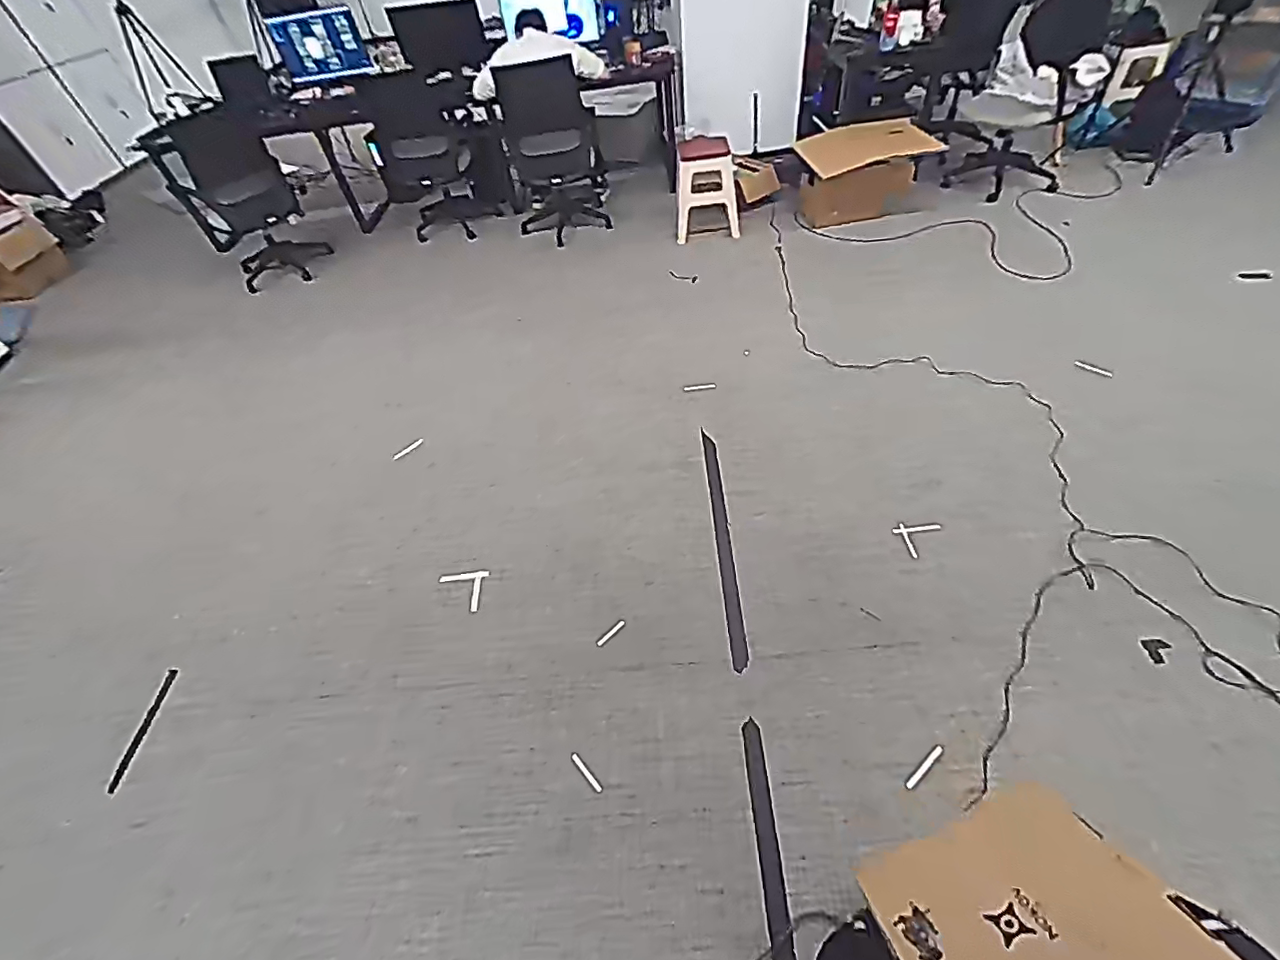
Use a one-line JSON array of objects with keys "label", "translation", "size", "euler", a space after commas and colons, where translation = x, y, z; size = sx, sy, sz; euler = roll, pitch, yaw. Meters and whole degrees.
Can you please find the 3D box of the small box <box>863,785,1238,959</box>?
[{"label": "small box", "translation": [0.305, 0.381, 0.398], "size": [0.179, 0.176, 0.168], "euler": [-25, 11, 0]}]
